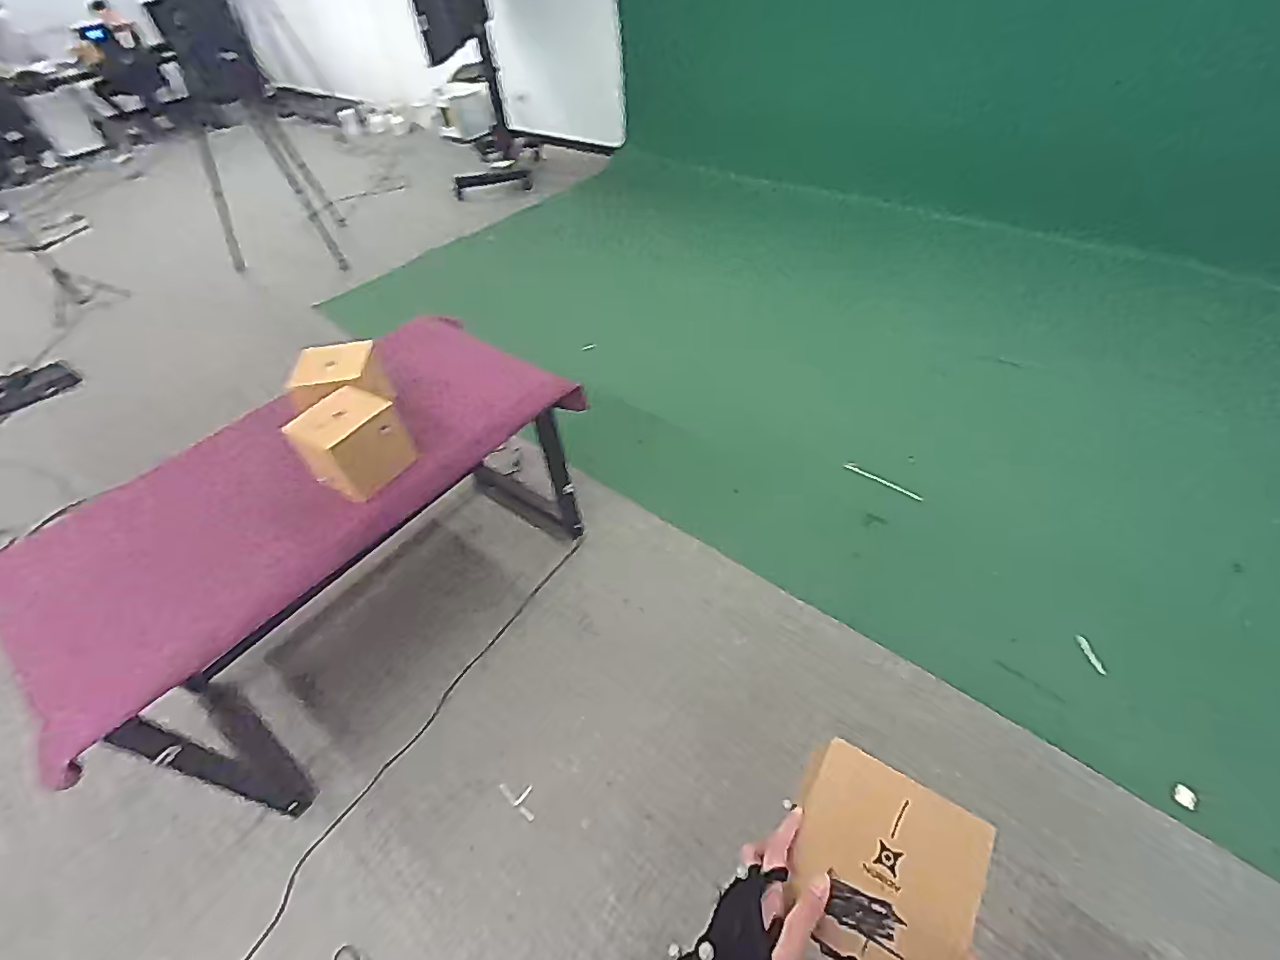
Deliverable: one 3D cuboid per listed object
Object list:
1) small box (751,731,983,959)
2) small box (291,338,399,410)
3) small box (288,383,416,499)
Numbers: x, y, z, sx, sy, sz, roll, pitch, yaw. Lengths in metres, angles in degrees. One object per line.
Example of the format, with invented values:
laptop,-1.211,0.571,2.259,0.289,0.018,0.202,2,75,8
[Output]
small box,0.229,0.408,0.583,0.168,0.176,0.179,24,63,21
small box,-0.748,-0.238,1.395,0.179,0.176,0.168,-10,48,-2
small box,-0.646,-0.090,1.244,0.168,0.176,0.179,22,54,25
